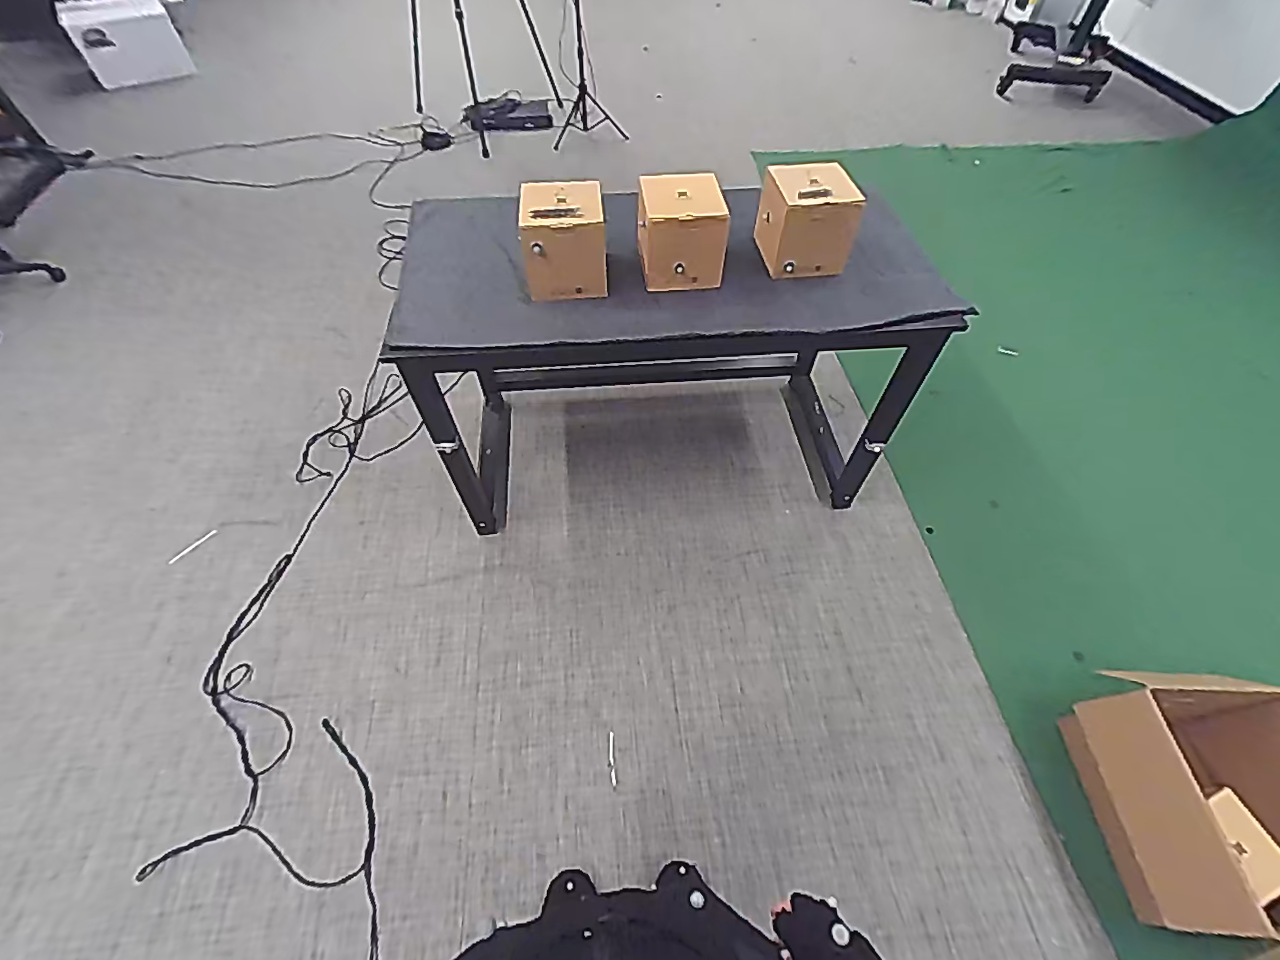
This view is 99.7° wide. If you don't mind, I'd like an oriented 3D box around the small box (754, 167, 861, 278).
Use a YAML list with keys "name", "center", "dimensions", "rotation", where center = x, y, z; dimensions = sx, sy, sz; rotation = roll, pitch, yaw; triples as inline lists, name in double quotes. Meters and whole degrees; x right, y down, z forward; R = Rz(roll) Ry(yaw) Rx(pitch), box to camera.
- name: "small box"
  center: [0.365, -0.571, 1.213]
  dimensions: [0.168, 0.176, 0.179]
  rotation: [-5, 53, -4]

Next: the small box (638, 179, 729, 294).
- name: "small box"
  center: [0.086, -0.532, 1.186]
  dimensions: [0.168, 0.176, 0.179]
  rotation: [-5, 55, -5]
